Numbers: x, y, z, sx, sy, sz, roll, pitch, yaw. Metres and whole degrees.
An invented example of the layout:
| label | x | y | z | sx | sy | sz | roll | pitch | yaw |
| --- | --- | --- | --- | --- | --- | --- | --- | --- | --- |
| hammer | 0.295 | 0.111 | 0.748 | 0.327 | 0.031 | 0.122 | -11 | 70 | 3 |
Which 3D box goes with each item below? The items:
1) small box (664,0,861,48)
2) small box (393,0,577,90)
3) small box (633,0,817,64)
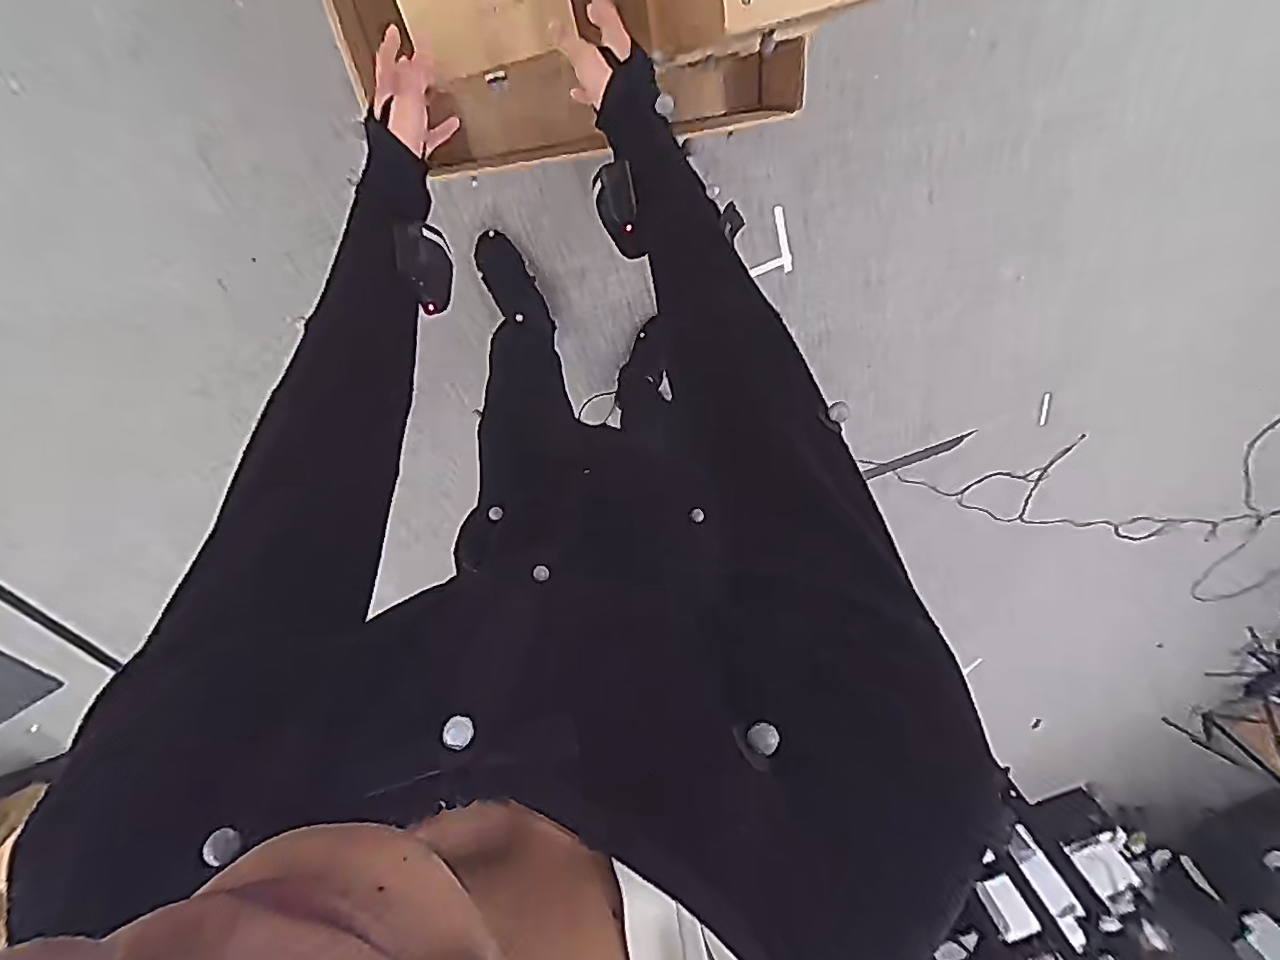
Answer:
| label | x | y | z | sx | sy | sz | roll | pitch | yaw |
| --- | --- | --- | --- | --- | --- | --- | --- | --- | --- |
| small box | 0.117 | -0.496 | 0.460 | 0.179 | 0.176 | 0.168 | -17 | 124 | -3 |
| small box | -0.176 | -0.535 | 0.562 | 0.168 | 0.176 | 0.179 | -18 | 125 | -1 |
| small box | 0.083 | -0.582 | 0.596 | 0.168 | 0.176 | 0.179 | -15 | 124 | -4 |
